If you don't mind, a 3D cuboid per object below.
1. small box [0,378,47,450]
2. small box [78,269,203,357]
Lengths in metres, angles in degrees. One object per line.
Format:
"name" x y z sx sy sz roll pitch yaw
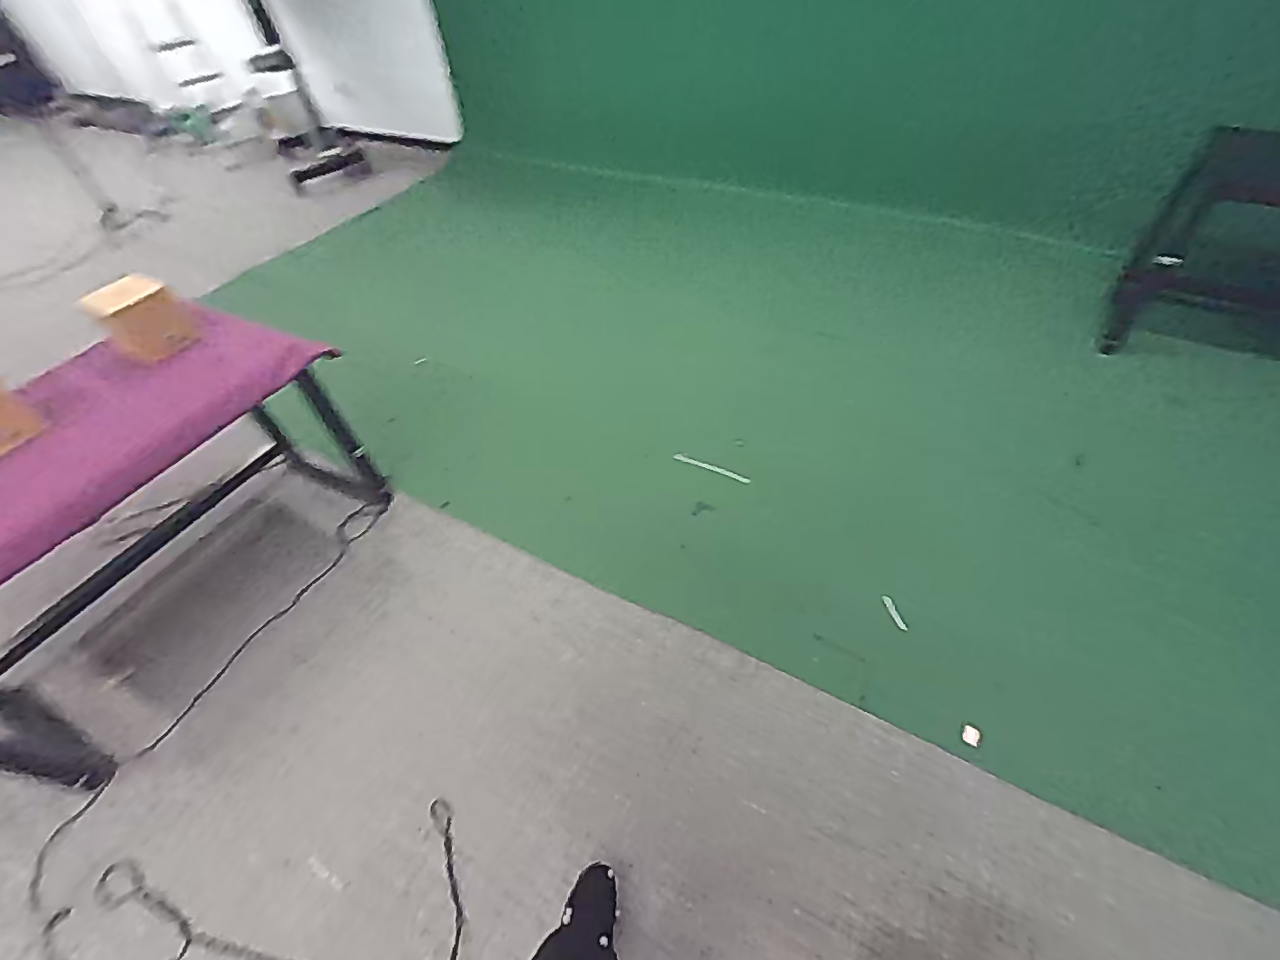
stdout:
"small box" -1.651 -0.178 1.329 0.179 0.176 0.168 21 54 19
"small box" -1.438 -0.482 1.568 0.179 0.176 0.168 22 56 21
